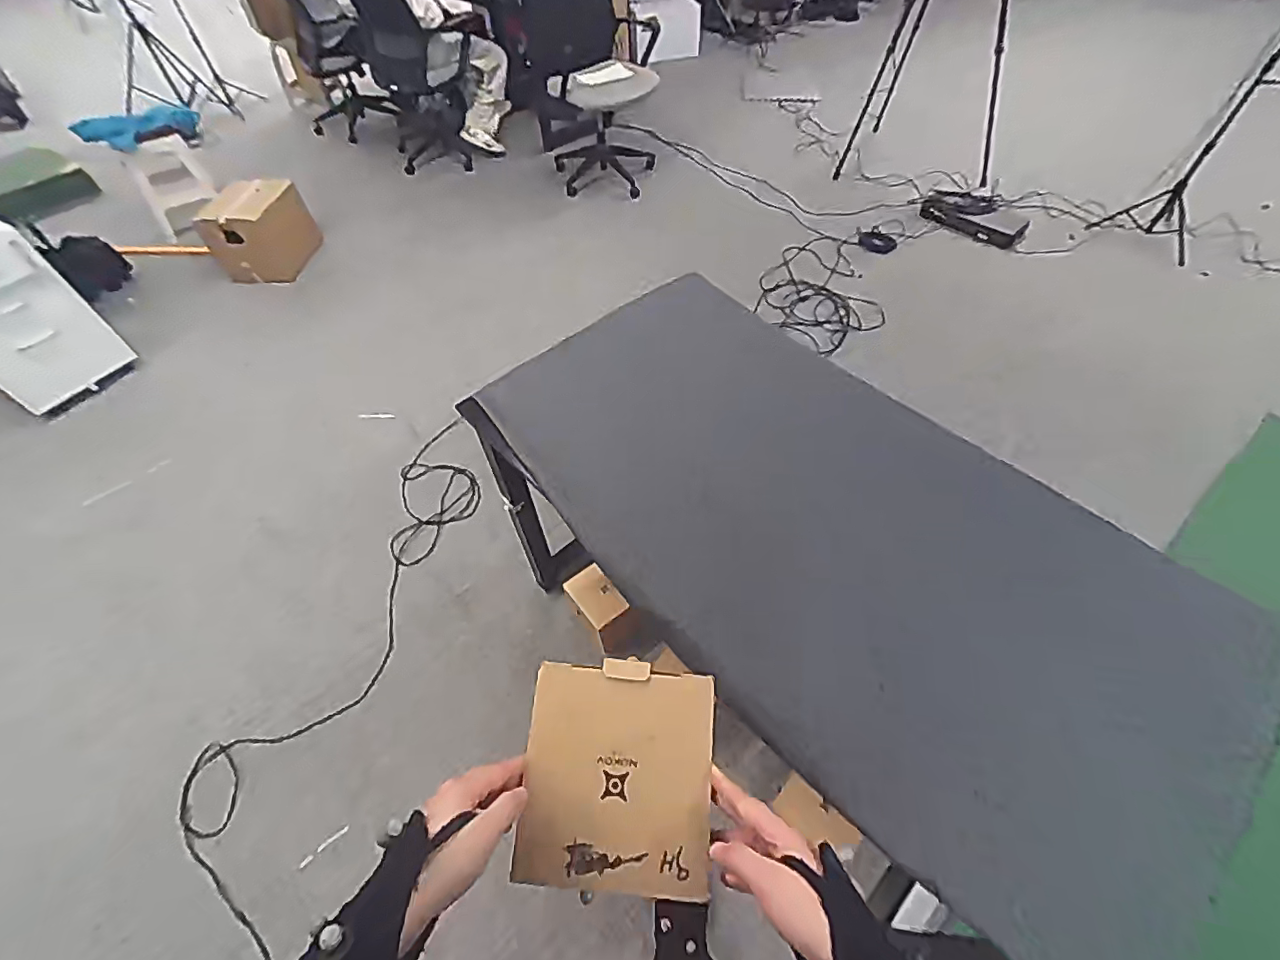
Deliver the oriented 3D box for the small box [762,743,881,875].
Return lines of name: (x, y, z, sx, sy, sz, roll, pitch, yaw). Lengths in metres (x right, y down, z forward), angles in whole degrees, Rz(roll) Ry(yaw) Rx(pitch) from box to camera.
small box: (0.380, 0.711, 1.163, 0.168, 0.176, 0.179, 36, 62, 25)

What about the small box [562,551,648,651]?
small box: (-0.089, 0.335, 1.480, 0.179, 0.176, 0.168, -32, 57, -21)

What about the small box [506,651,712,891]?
small box: (-0.022, 0.277, 0.546, 0.168, 0.176, 0.179, 4, 68, 3)
